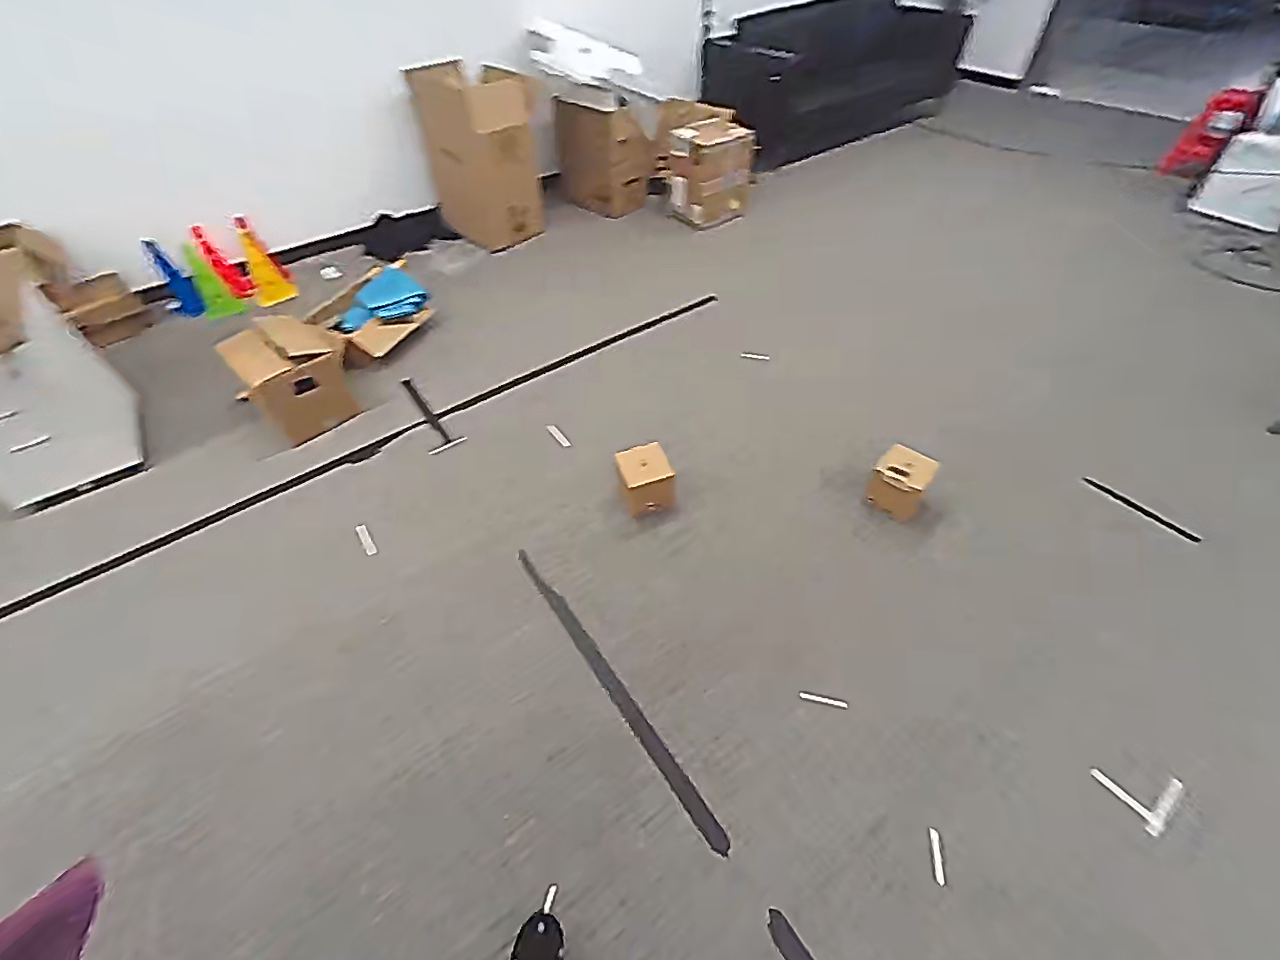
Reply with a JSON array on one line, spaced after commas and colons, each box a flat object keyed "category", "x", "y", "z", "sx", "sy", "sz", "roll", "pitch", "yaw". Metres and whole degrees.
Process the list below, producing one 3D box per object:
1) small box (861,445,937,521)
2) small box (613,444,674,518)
[{"category": "small box", "x": 0.902, "y": 0.014, "z": 1.898, "sx": 0.168, "sy": 0.176, "sz": 0.179, "roll": 33, "pitch": 56, "yaw": 28}, {"category": "small box", "x": 0.011, "y": 0.005, "z": 1.931, "sx": 0.168, "sy": 0.176, "sz": 0.179, "roll": -18, "pitch": 51, "yaw": -12}]
